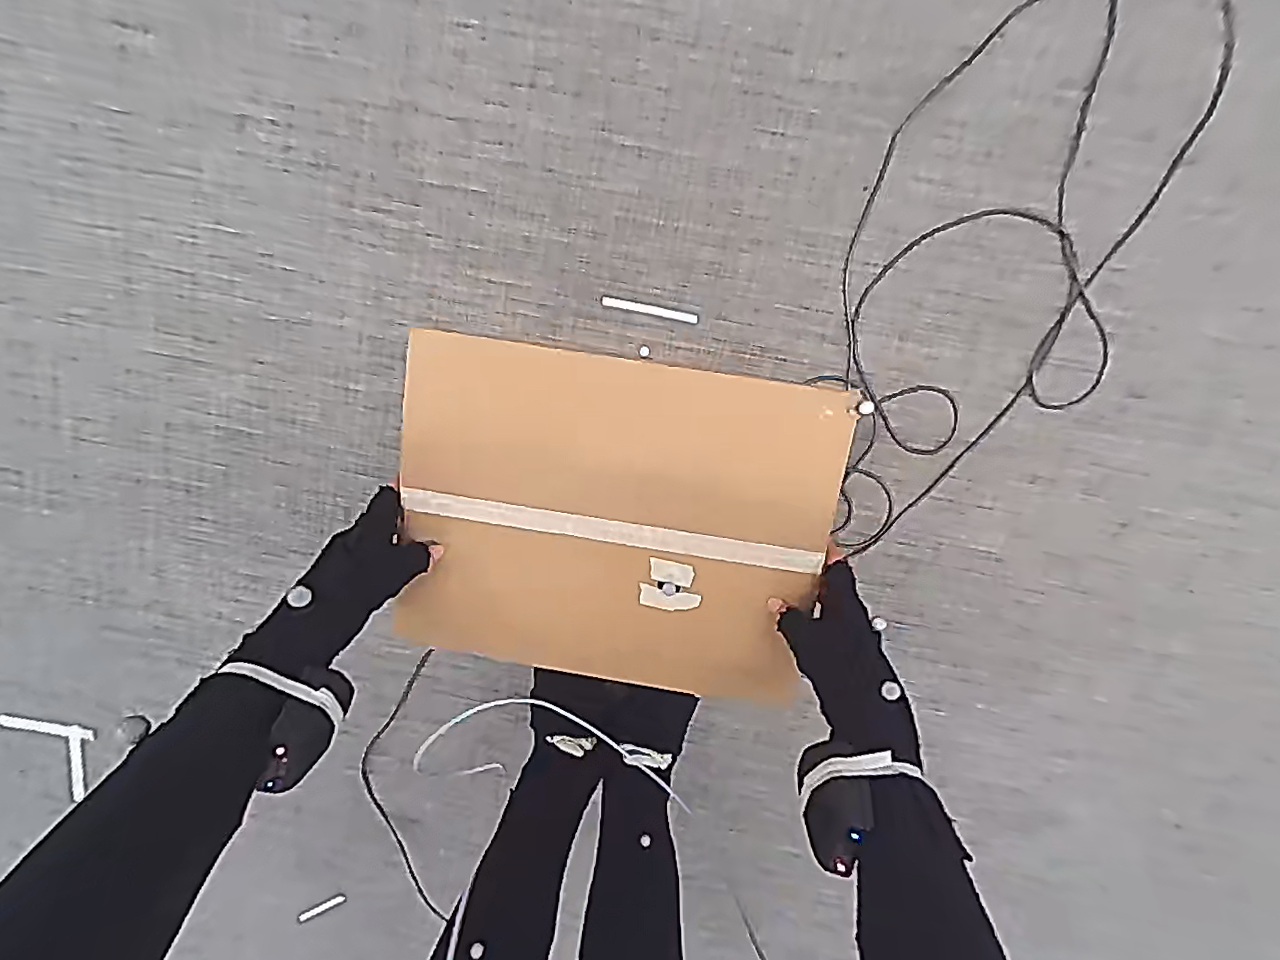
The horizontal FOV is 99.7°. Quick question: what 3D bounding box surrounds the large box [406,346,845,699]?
[{"bbox_3d":[-0.022,0.021,0.671,0.408,0.320,0.320,9,103,2],"label":"large box"}]
